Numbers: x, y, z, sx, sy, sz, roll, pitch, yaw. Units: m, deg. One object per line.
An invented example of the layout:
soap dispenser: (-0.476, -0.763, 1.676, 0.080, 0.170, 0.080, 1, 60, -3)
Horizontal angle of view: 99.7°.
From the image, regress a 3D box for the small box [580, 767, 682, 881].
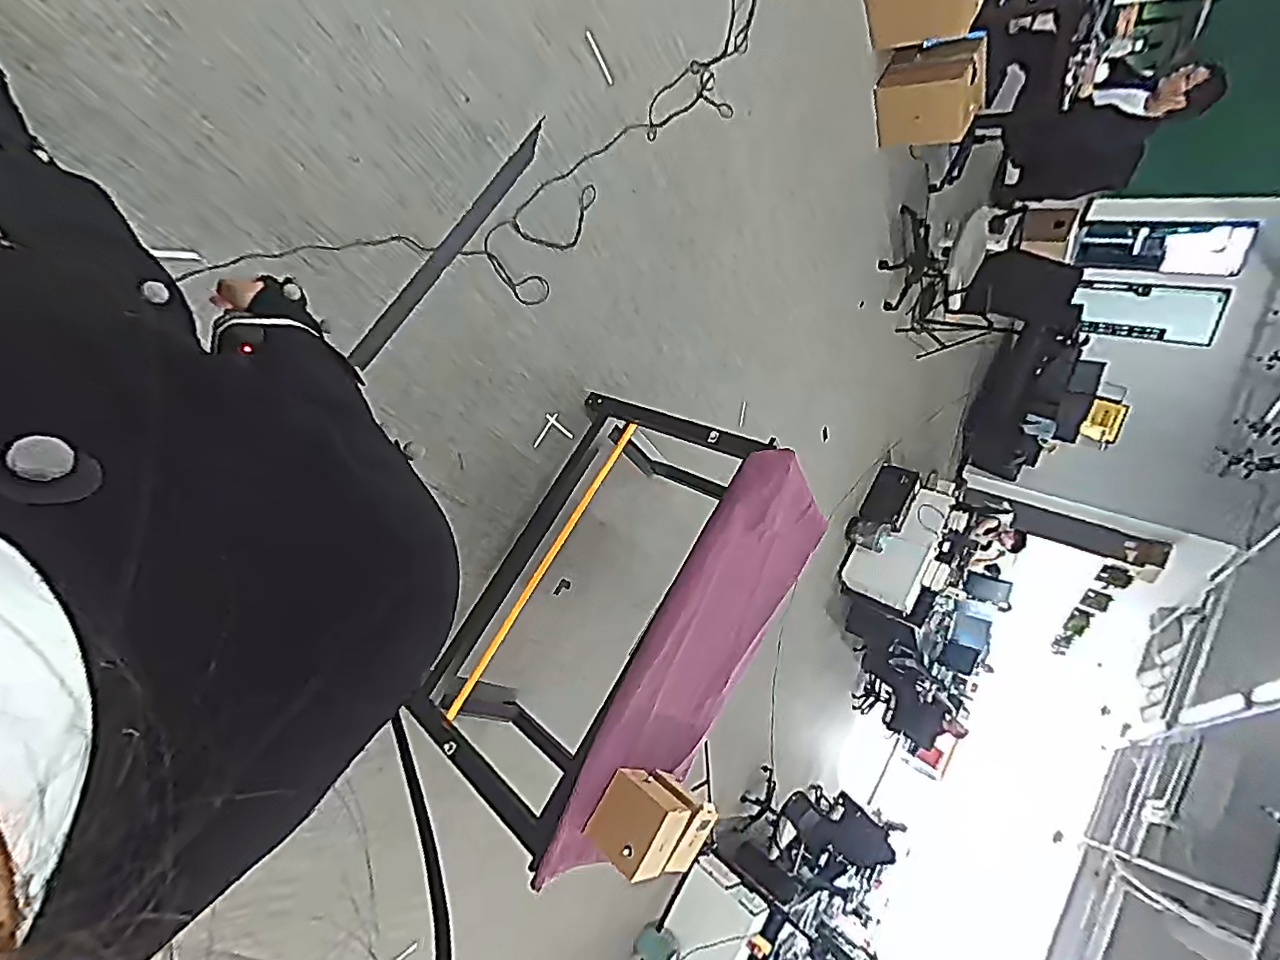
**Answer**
small box: (-0.028, 0.867, 1.374, 0.179, 0.176, 0.168, -58, 144, -14)

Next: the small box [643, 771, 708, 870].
small box: (0.060, 0.959, 1.529, 0.179, 0.176, 0.168, -54, 140, -16)
